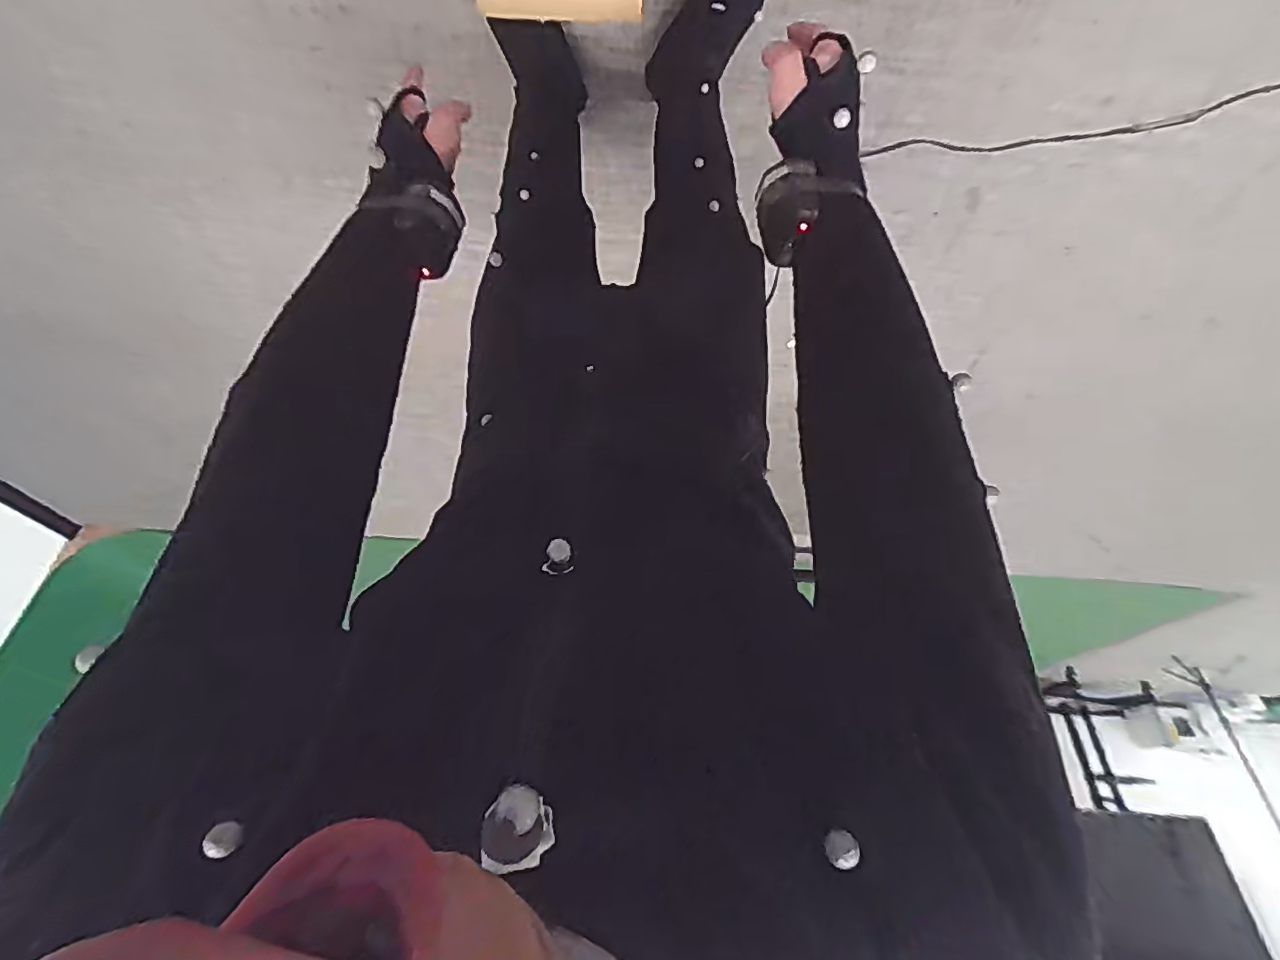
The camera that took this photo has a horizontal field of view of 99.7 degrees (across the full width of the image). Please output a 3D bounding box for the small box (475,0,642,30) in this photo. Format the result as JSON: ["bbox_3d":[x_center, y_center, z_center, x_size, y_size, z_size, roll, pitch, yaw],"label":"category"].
[{"bbox_3d":[-0.075,-0.591,0.543,0.179,0.176,0.168,4,148,0],"label":"small box"}]
